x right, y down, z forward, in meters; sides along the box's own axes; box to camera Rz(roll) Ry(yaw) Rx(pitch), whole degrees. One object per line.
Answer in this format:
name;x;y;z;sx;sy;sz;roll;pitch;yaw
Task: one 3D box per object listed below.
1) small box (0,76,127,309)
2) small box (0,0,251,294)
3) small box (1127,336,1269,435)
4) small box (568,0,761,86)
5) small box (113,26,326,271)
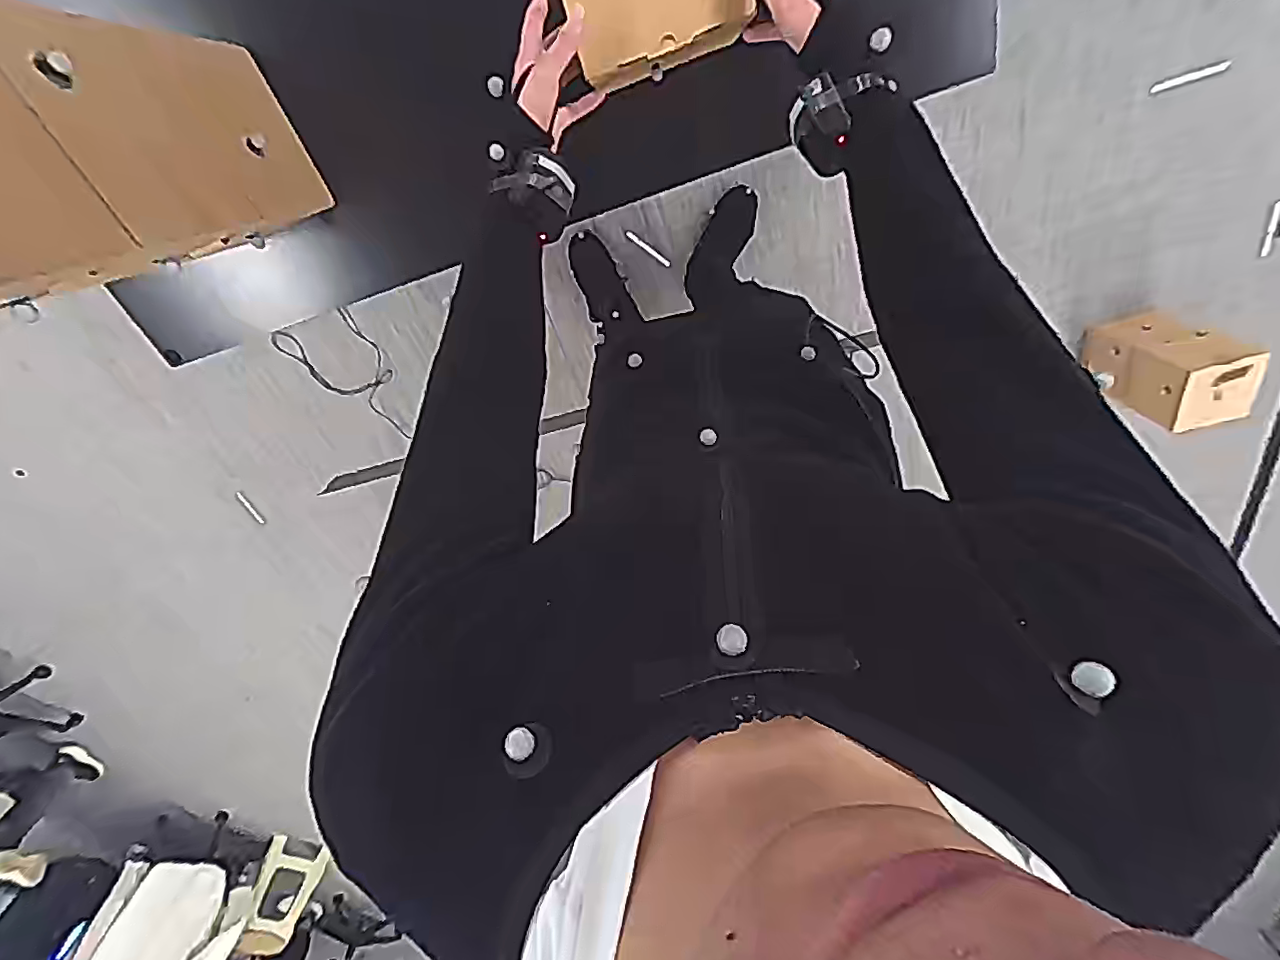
small box;-0.505;-0.190;0.334;0.168;0.176;0.179;-15;122;12
small box;-0.505;-0.279;0.471;0.168;0.176;0.179;-15;122;11
small box;1.367;-0.243;1.343;0.168;0.176;0.179;-15;123;9
small box;0.005;-0.509;0.515;0.168;0.176;0.179;-15;122;10
small box;-0.504;-0.366;0.611;0.168;0.176;0.179;-17;122;11
